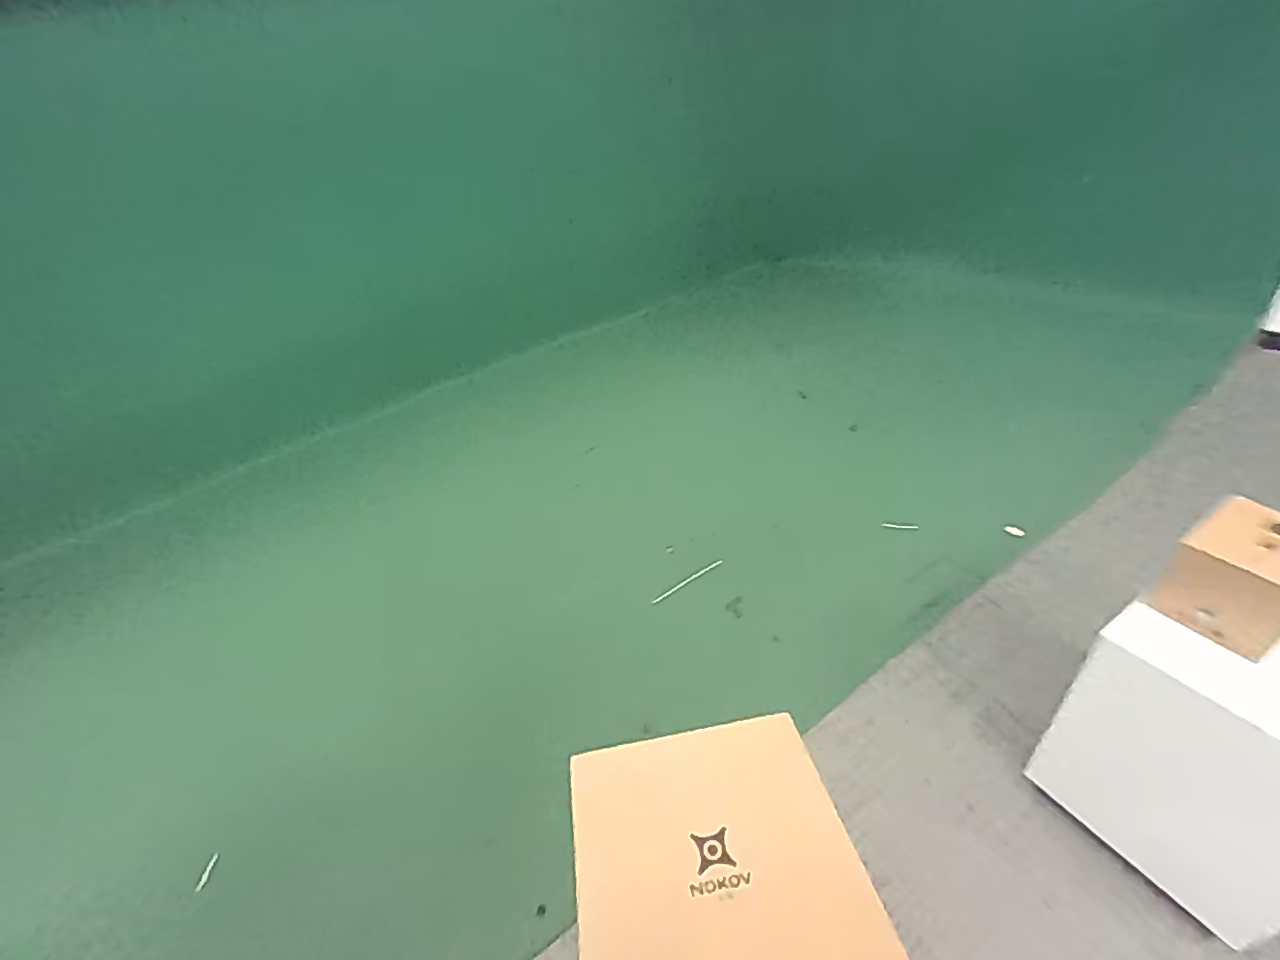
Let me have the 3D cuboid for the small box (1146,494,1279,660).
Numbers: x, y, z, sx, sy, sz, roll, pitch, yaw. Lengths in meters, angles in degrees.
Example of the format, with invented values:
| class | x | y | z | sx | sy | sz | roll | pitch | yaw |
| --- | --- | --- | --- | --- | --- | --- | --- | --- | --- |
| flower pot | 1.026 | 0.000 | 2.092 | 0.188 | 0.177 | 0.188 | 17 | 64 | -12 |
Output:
| class | x | y | z | sx | sy | sz | roll | pitch | yaw |
| --- | --- | --- | --- | --- | --- | --- | --- | --- | --- |
| small box | 1.013 | 0.161 | 0.907 | 0.179 | 0.176 | 0.168 | -28 | 40 | -18 |
